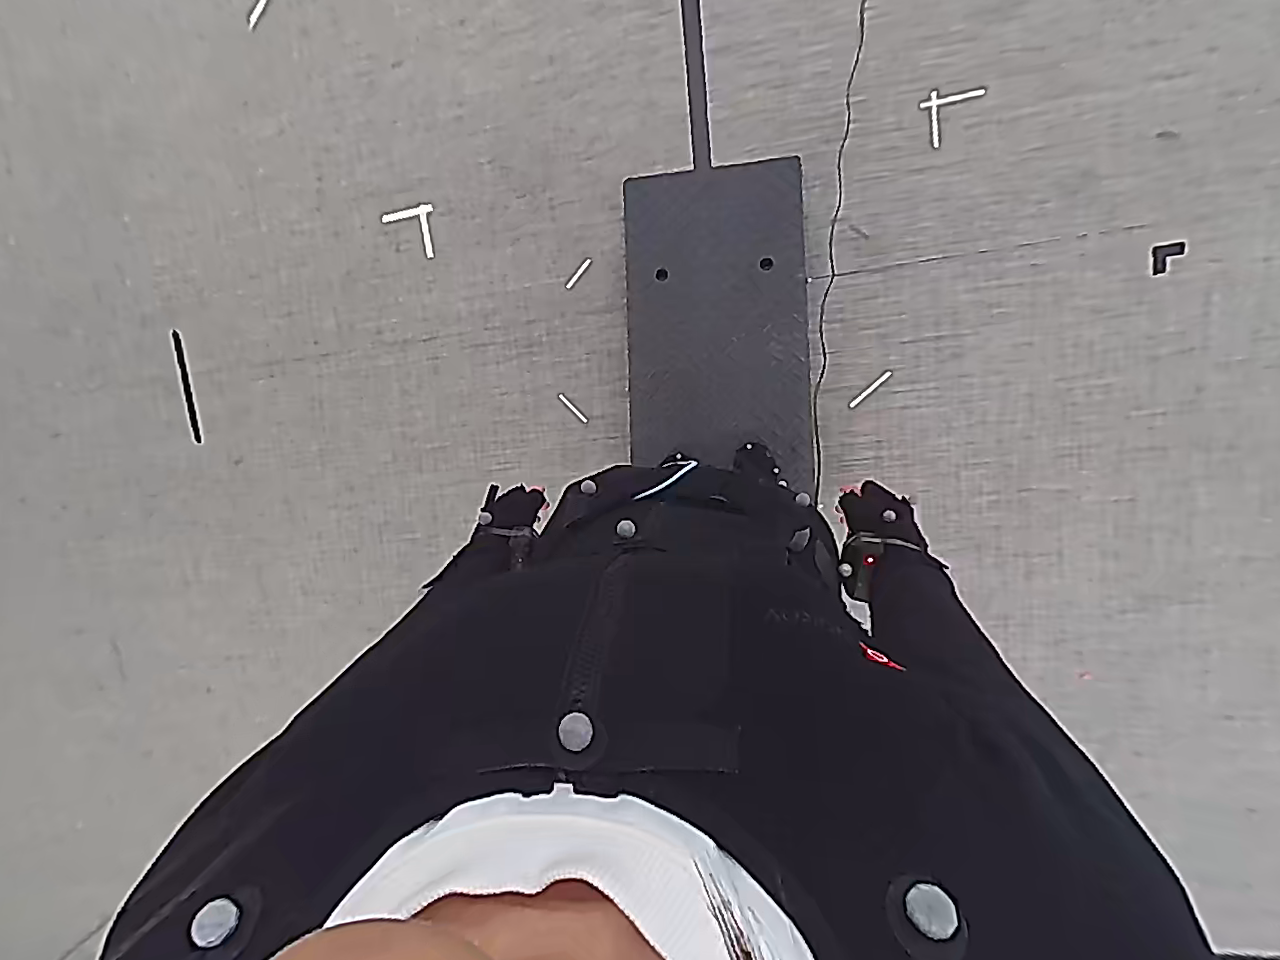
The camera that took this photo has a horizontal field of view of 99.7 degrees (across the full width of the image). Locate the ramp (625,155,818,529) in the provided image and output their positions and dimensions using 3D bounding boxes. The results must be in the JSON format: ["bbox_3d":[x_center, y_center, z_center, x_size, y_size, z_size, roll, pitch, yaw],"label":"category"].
[{"bbox_3d":[0.207,-0.370,1.474,0.509,0.206,0.991,-4,96,12],"label":"ramp"}]
